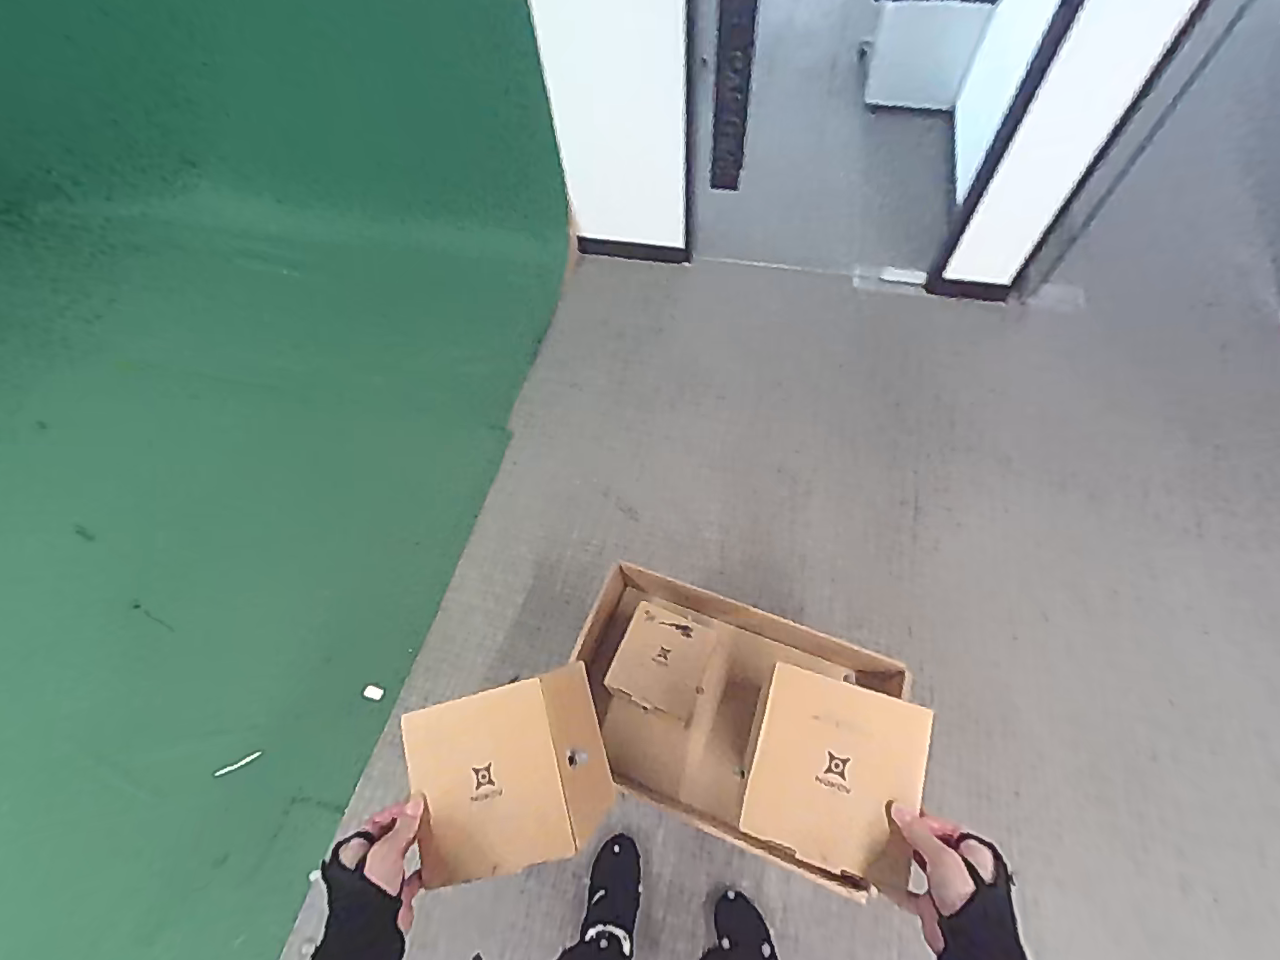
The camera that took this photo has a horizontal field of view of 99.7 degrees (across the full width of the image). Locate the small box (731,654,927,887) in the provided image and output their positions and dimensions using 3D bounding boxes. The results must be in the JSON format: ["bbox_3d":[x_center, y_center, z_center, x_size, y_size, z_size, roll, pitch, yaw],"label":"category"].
[{"bbox_3d":[0.209,0.316,0.628,0.168,0.176,0.179,13,73,14],"label":"small box"}]

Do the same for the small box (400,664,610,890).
[{"bbox_3d":[-0.147,0.326,0.636,0.168,0.176,0.179,-19,76,5],"label":"small box"}]
